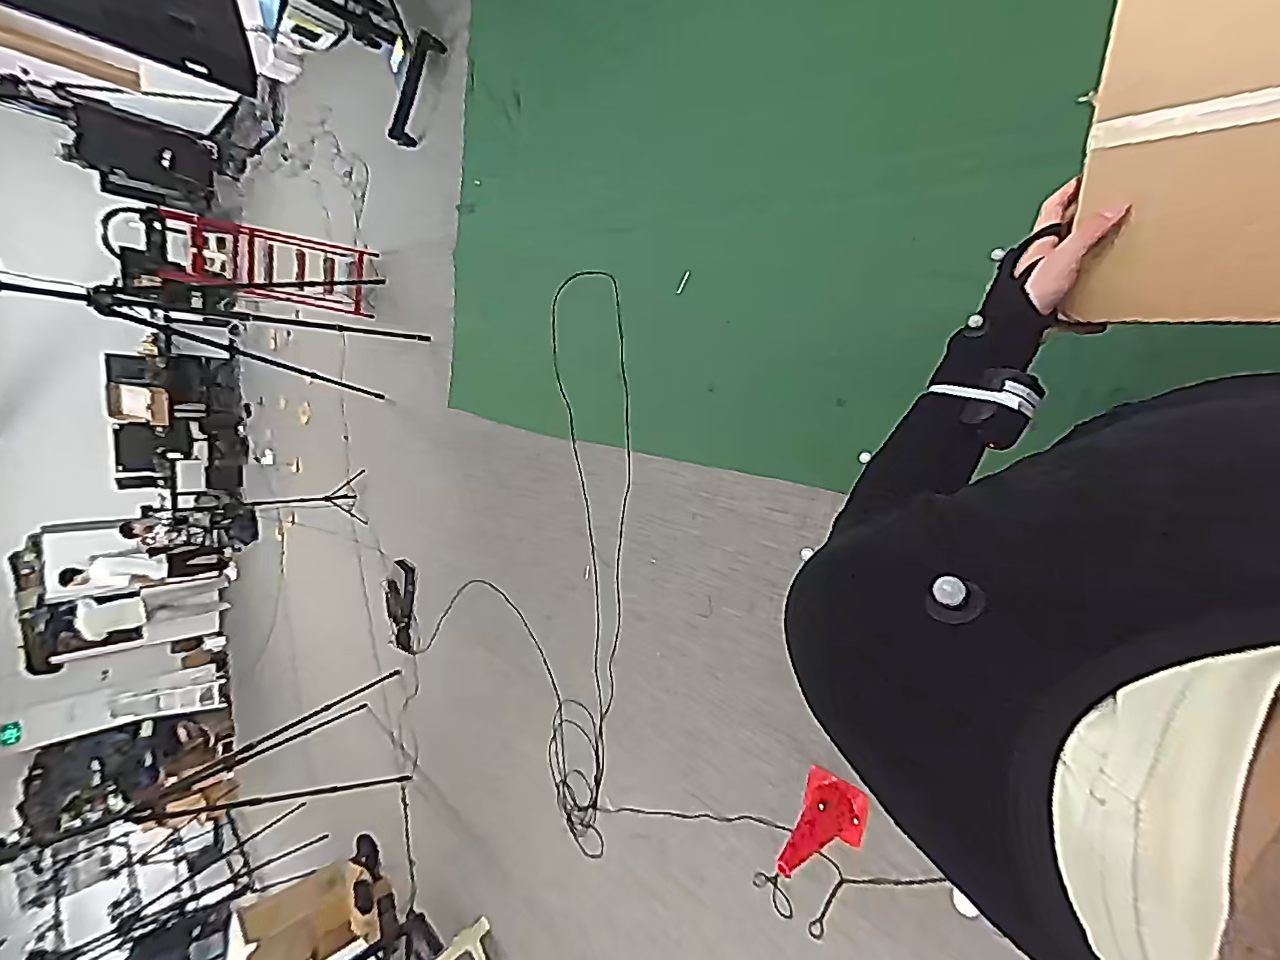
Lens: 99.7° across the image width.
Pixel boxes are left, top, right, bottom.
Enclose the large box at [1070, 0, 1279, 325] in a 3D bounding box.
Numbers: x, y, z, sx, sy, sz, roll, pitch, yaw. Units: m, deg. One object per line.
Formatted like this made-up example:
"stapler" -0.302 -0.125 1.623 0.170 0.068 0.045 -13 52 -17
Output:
"large box" 0.652 -0.297 0.449 0.408 0.320 0.320 14 112 42
